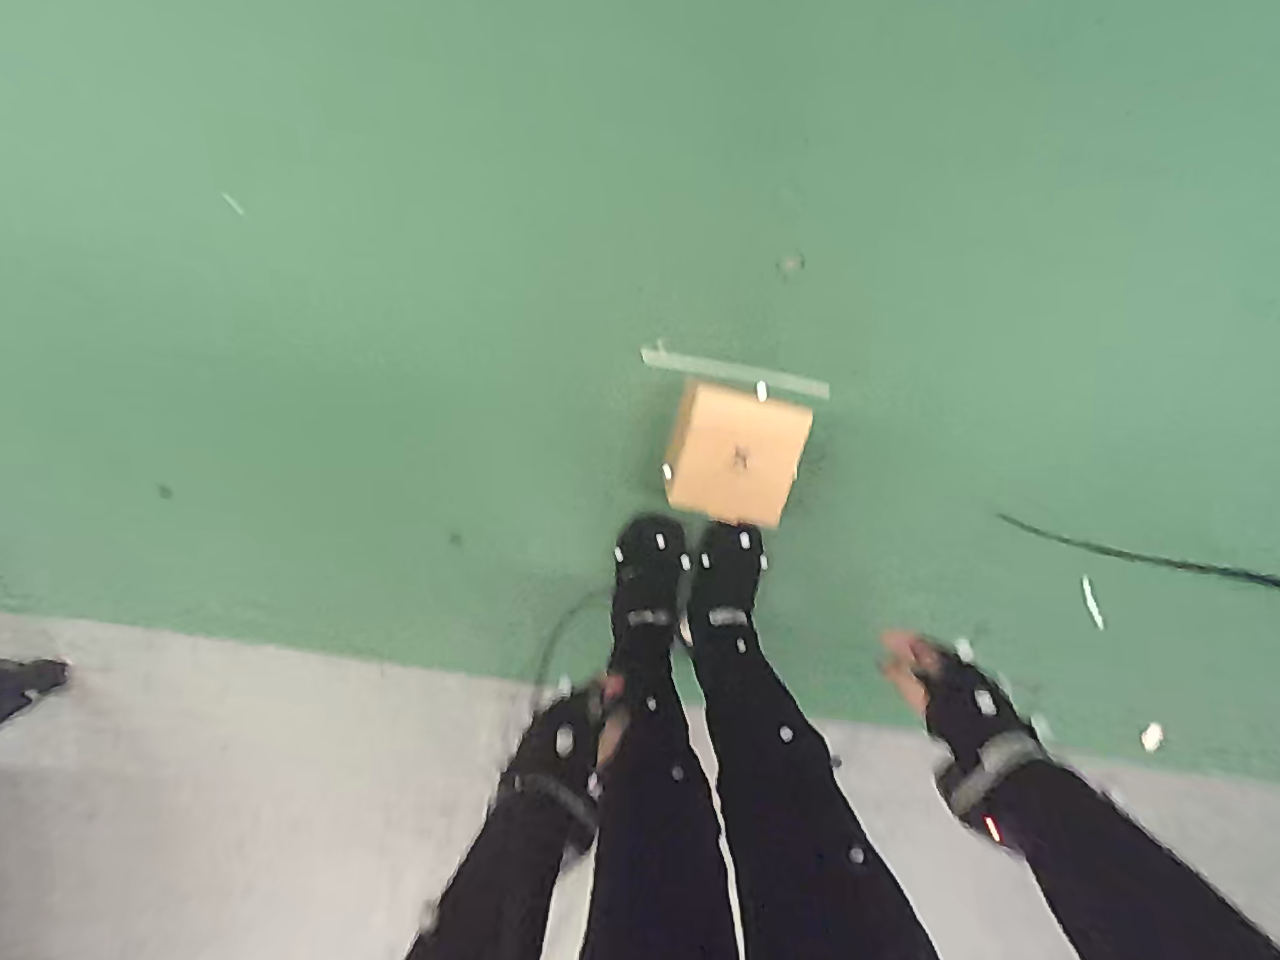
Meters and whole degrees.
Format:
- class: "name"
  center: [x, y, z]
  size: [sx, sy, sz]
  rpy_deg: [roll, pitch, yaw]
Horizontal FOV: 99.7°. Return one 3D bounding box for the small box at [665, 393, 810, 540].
- class: "small box"
  center: [0.139, -0.031, 0.848]
  size: [0.168, 0.176, 0.179]
  rpy_deg: [13, 106, -5]
